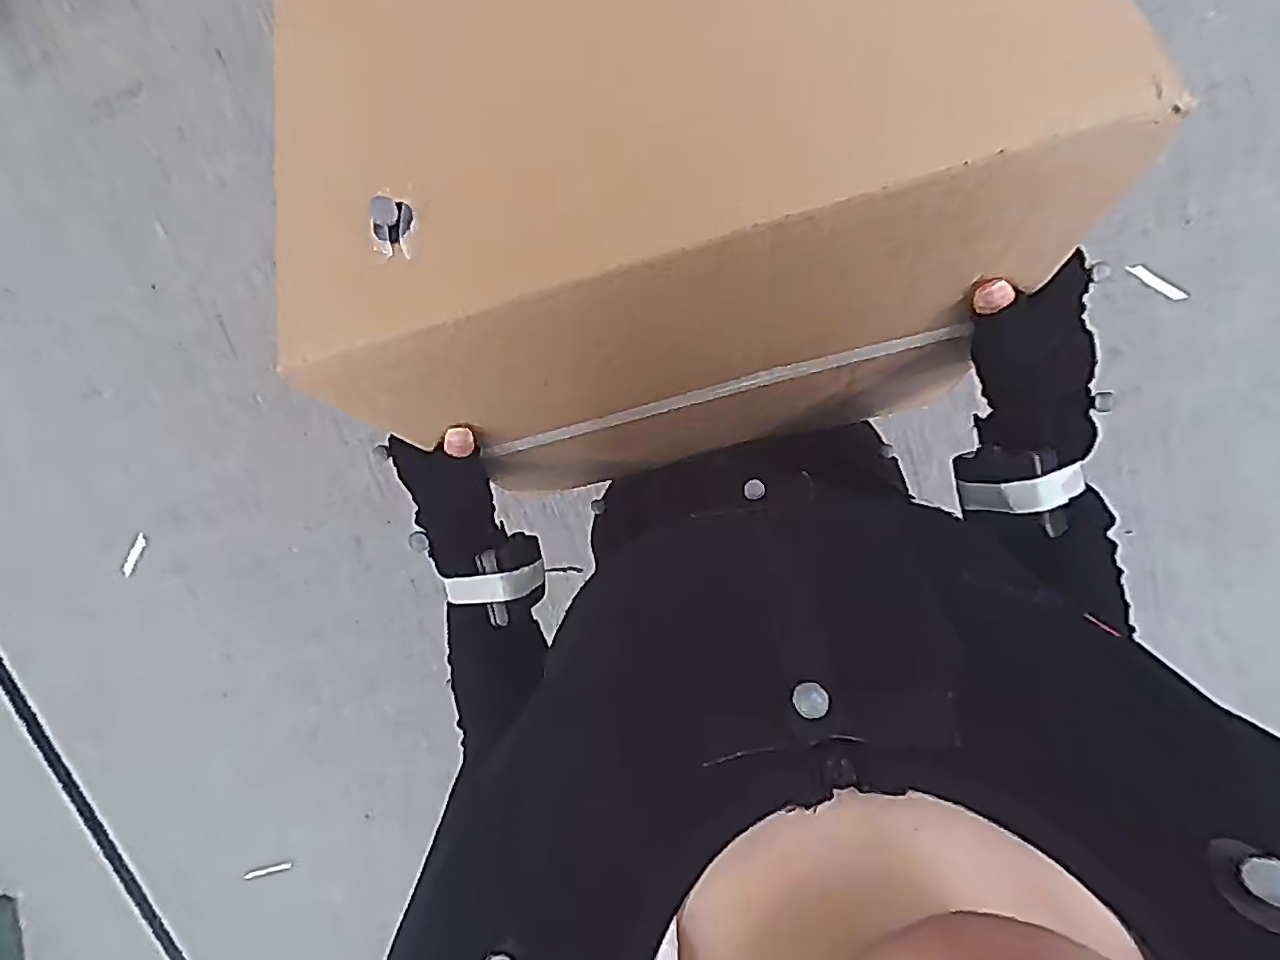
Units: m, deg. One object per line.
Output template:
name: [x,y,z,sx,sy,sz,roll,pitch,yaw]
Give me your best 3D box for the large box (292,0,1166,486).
large box: [0.018,-0.216,0.423,0.408,0.320,0.320,-13,75,7]
